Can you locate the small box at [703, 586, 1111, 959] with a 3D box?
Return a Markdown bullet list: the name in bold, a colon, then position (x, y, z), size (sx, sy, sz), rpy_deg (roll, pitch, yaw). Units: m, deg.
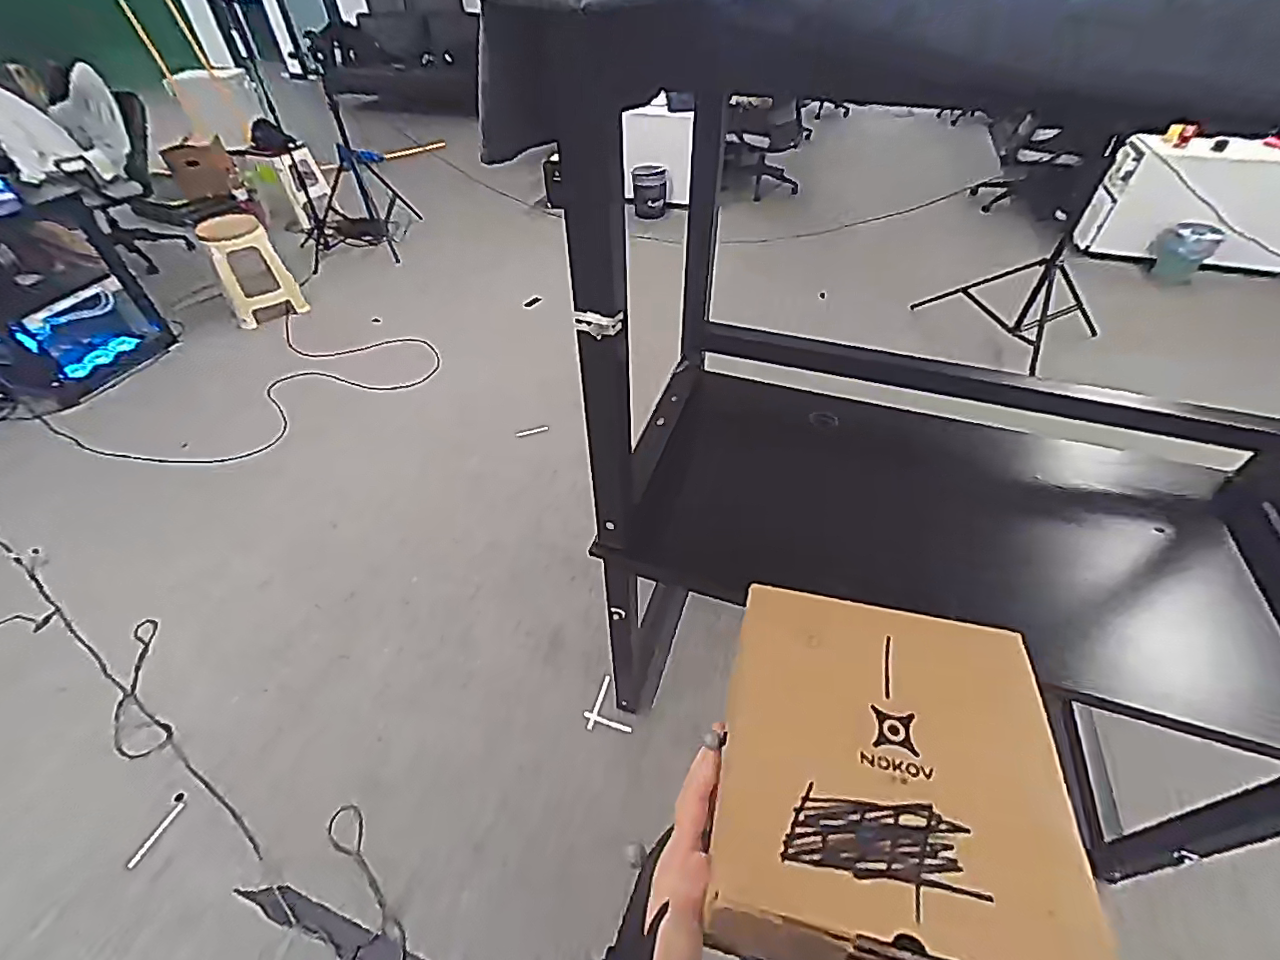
- **small box**: position (0.134, 0.198, 0.340), size (0.168, 0.176, 0.179), rpy_deg (9, 44, 10)
